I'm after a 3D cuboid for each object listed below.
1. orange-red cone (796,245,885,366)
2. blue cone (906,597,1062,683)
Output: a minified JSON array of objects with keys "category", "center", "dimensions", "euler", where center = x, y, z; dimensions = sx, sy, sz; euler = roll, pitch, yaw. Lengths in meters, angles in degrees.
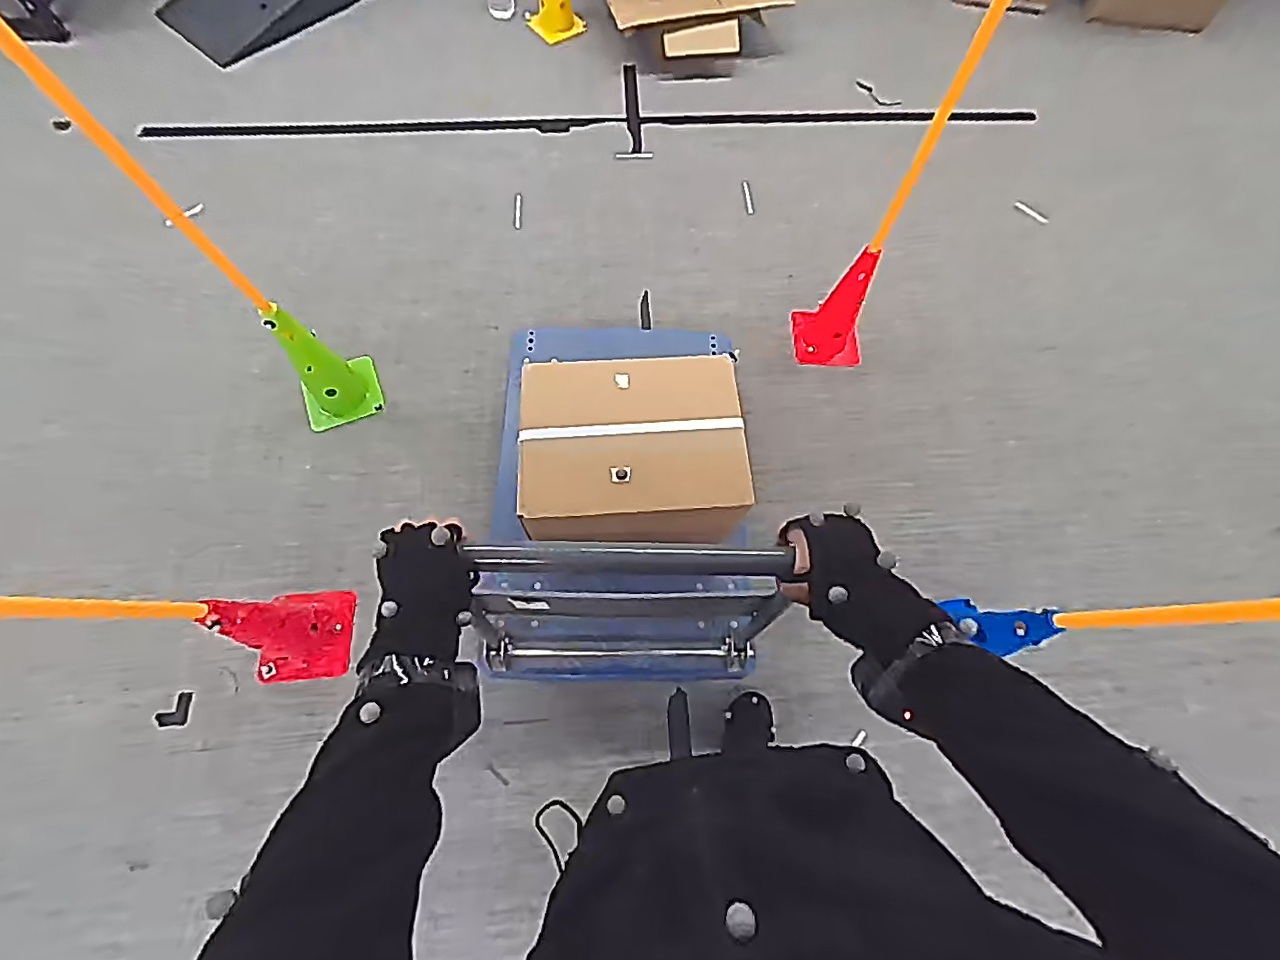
[{"category":"orange-red cone","center":[0.587,-0.505,1.507],"dimensions":[0.199,0.360,0.198],"euler":[4,68,-2]},{"category":"blue cone","center":[0.773,0.325,1.179],"dimensions":[0.193,0.380,0.192],"euler":[-6,66,-5]}]
